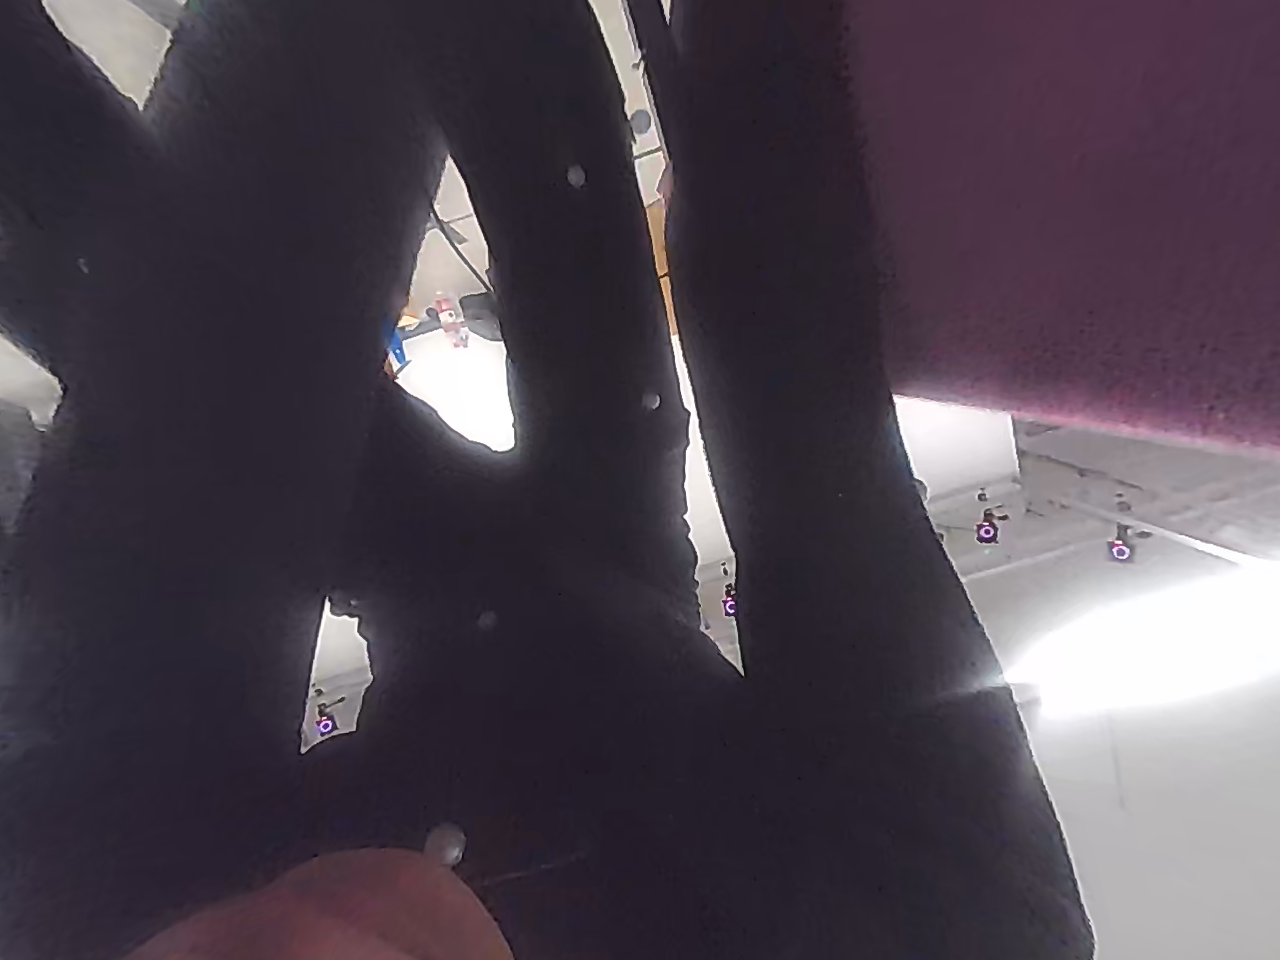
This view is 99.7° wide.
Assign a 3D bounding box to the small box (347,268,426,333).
[{"bbox_3d":[-0.867,-0.615,1.857,0.168,0.176,0.179,-17,-168,-2],"label":"small box"}]
